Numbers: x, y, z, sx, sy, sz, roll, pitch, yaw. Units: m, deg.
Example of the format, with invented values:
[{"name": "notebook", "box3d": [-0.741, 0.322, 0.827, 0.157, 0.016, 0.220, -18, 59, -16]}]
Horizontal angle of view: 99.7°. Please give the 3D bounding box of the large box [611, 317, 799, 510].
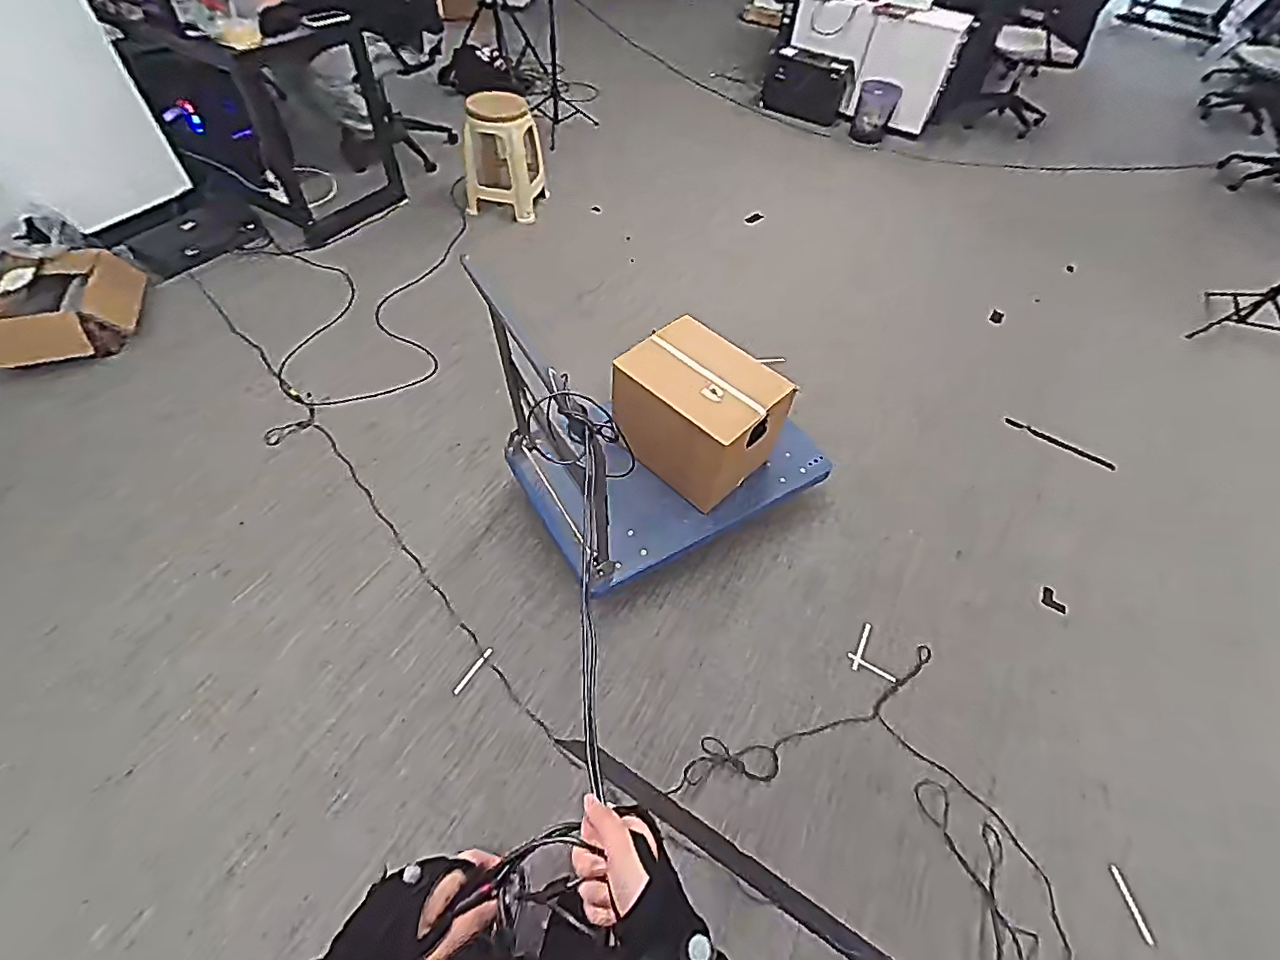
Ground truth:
[{"name": "large box", "box3d": [0.166, -0.193, 1.561, 0.408, 0.320, 0.320, 41, 61, 21]}]
